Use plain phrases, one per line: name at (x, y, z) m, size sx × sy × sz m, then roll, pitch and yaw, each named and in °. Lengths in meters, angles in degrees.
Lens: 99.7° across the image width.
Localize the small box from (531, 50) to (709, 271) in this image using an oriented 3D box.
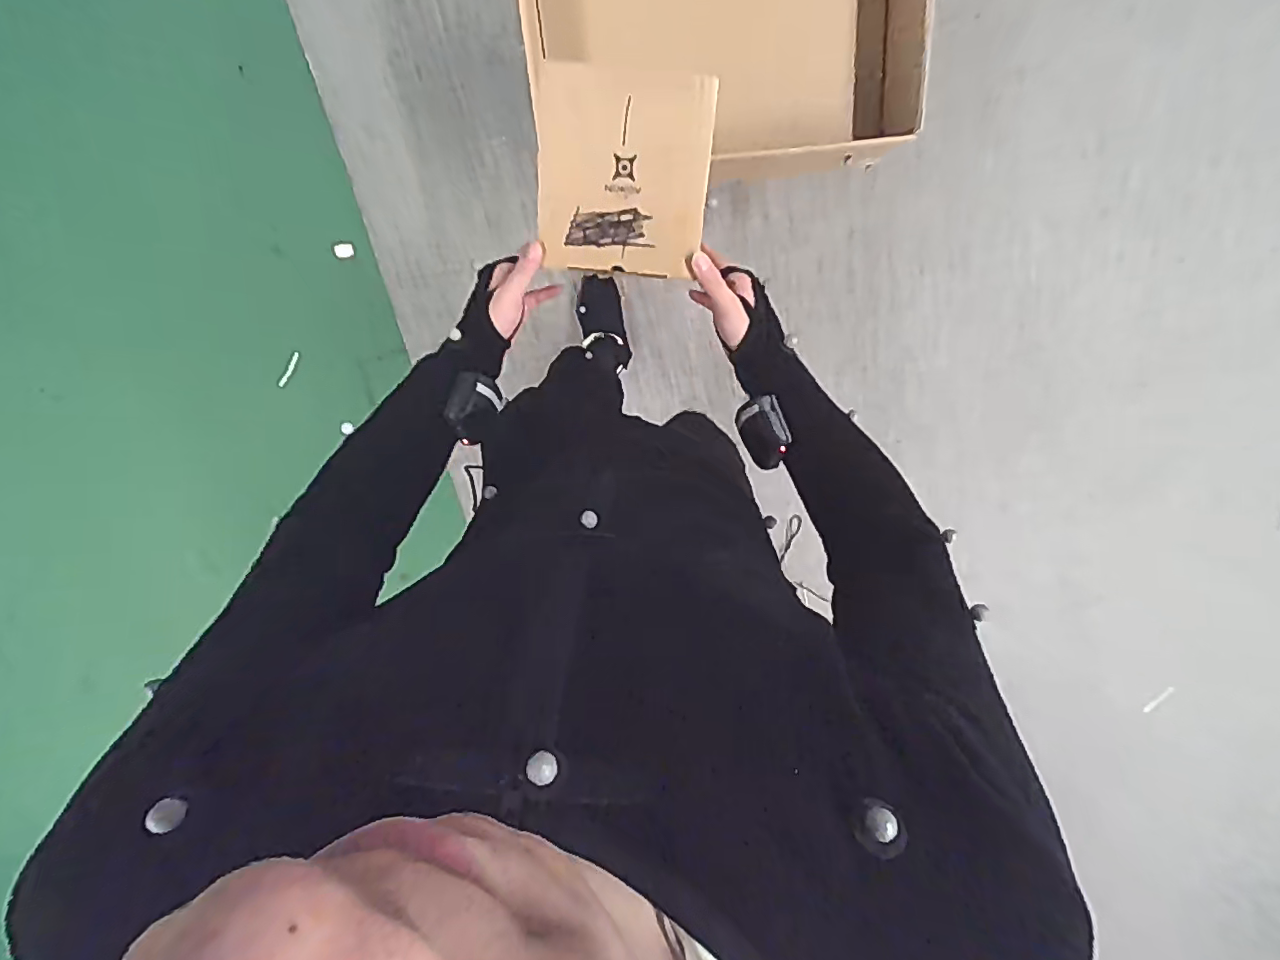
small box at (-0.017, -0.336, 0.594) m, size 0.168 × 0.176 × 0.179 m, roll 6°, pitch 115°, yaw 2°
